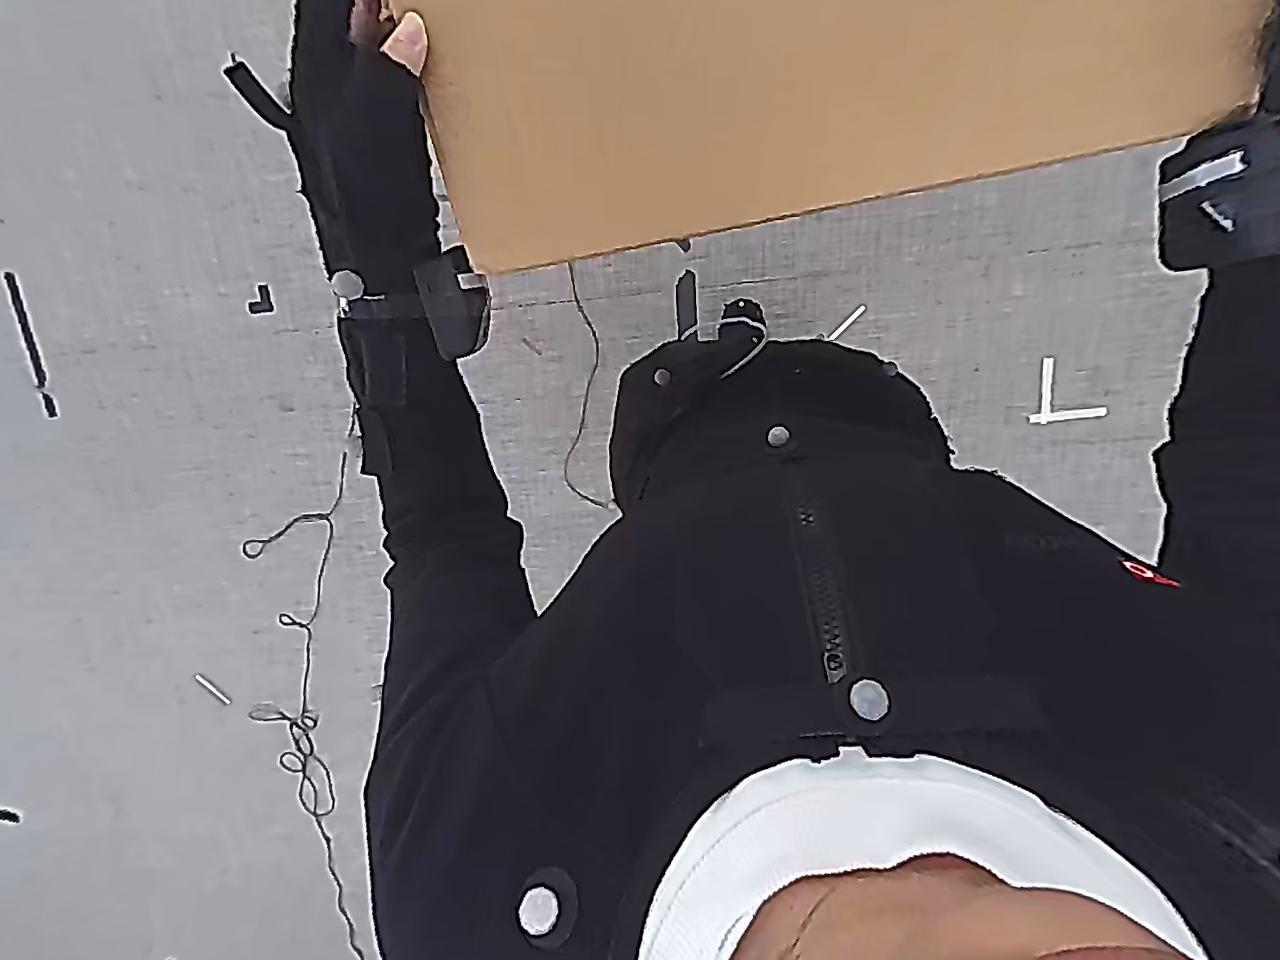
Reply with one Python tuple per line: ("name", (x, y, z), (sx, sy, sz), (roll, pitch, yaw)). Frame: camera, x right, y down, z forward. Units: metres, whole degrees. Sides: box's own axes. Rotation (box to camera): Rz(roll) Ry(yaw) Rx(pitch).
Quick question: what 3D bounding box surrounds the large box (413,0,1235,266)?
("large box", (0.079, -0.361, 0.377), (0.408, 0.320, 0.320), (-9, 115, 8))
